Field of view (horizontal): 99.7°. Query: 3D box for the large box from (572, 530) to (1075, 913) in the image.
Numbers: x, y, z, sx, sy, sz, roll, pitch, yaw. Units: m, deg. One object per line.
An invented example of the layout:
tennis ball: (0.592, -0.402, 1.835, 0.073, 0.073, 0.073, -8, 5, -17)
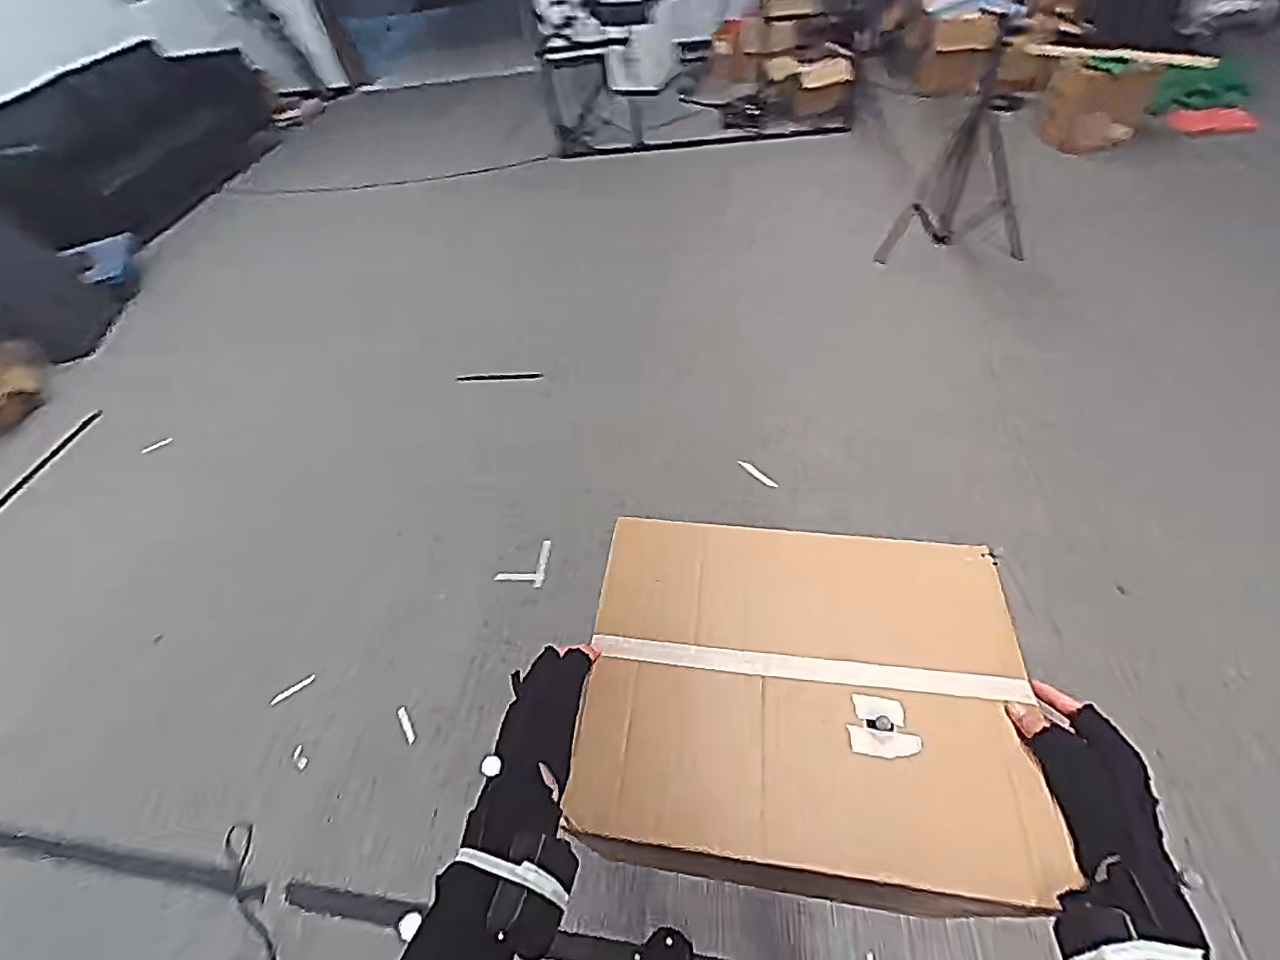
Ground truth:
large box: (0.165, 0.284, 0.641, 0.408, 0.320, 0.320, 5, 53, 9)
